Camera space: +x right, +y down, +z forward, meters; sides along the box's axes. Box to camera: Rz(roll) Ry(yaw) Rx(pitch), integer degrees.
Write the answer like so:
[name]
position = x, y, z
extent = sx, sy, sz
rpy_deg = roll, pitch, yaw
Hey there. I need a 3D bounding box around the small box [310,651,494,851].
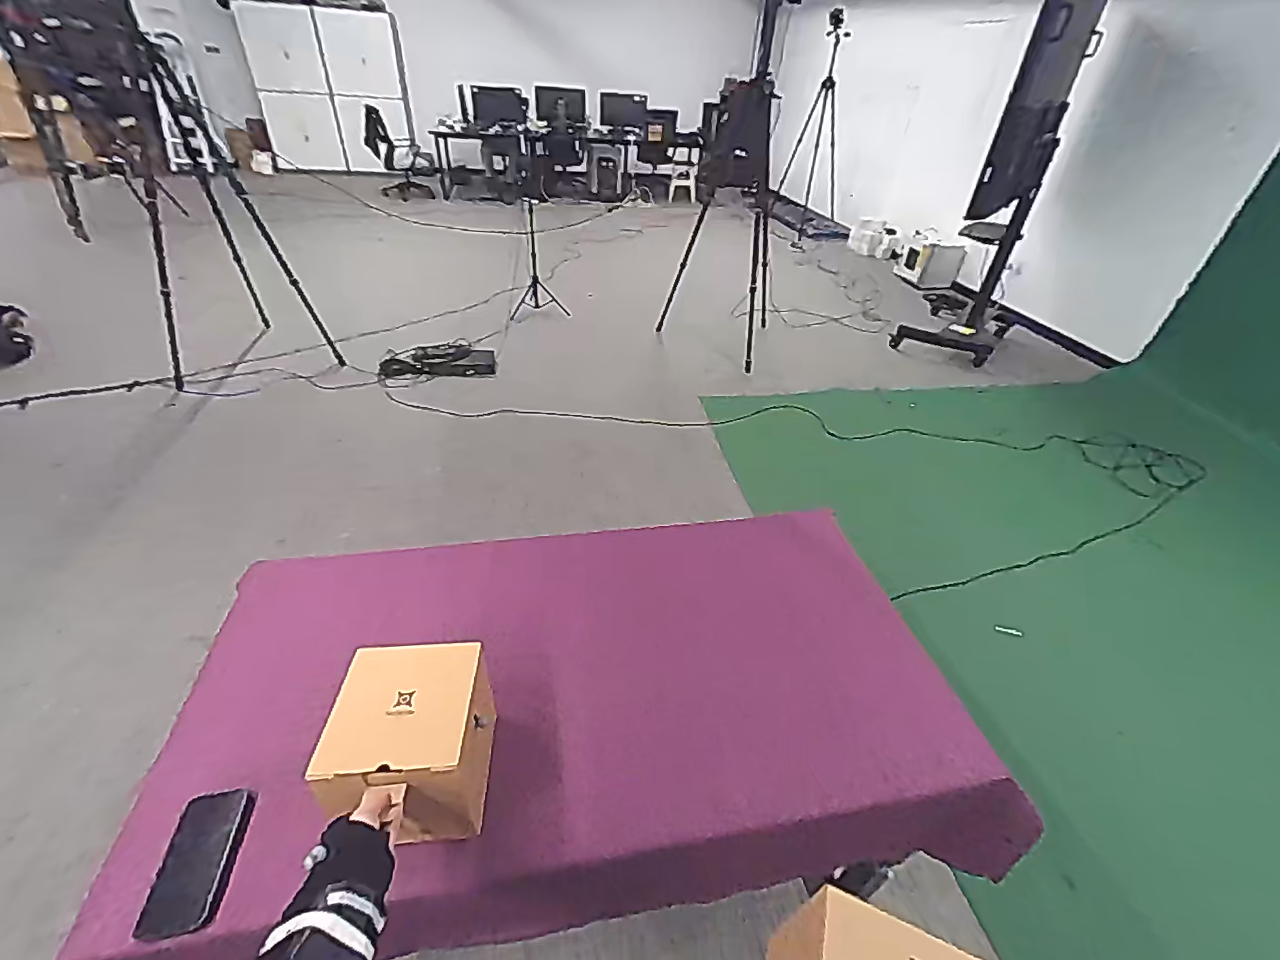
[small box]
position = -0.293, 0.351, 0.712
extent = 0.168, 0.176, 0.179
rpy_deg = -1, 34, -5
